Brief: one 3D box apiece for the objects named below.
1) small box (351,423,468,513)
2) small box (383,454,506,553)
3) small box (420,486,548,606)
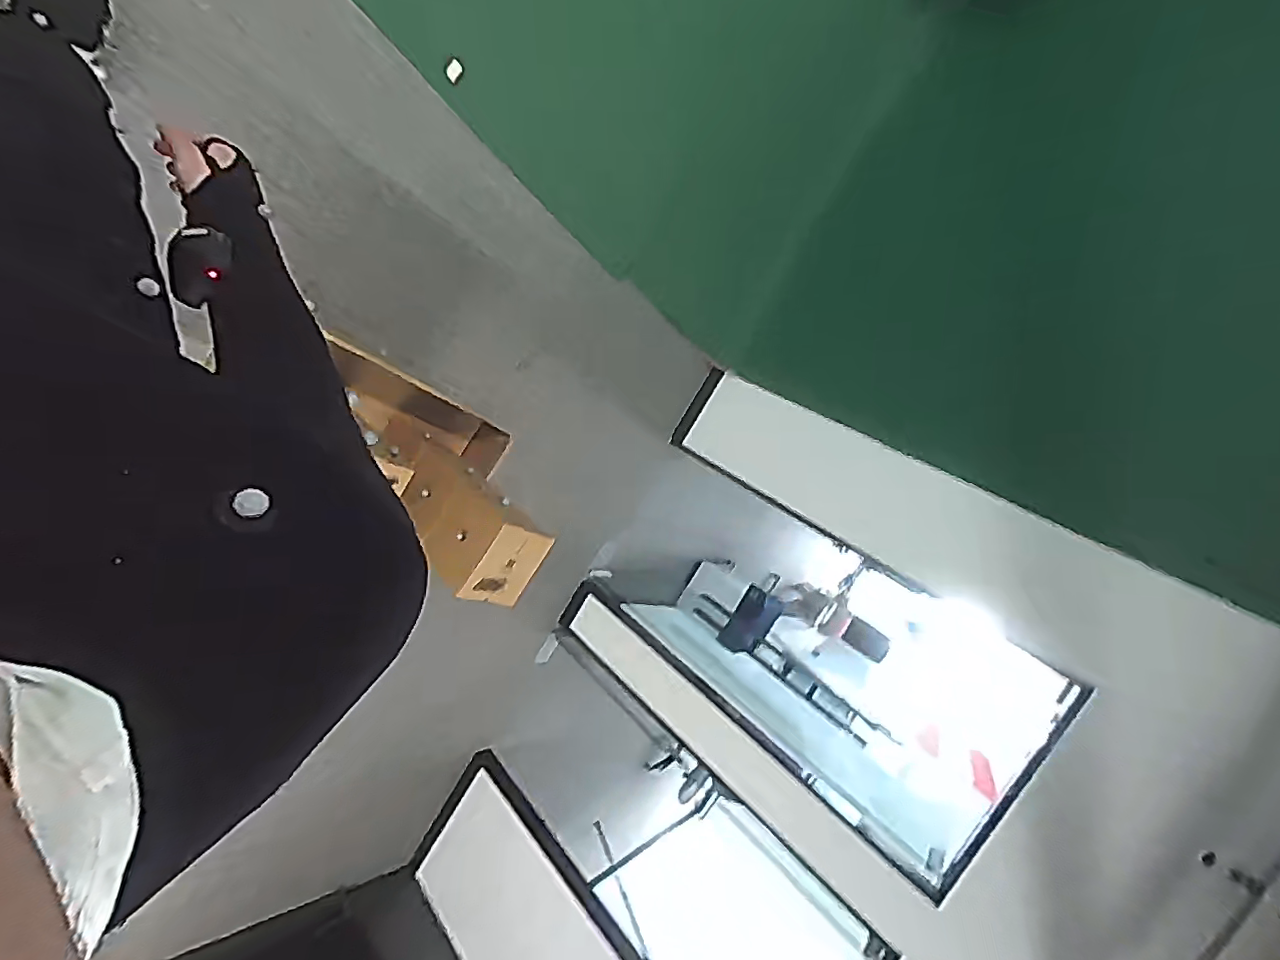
[{"bbox_3d":[-0.570,-0.014,1.330,0.179,0.176,0.168,-55,147,-1],"label":"small box"},{"bbox_3d":[-0.454,0.064,1.246,0.179,0.176,0.168,-57,147,-1],"label":"small box"},{"bbox_3d":[-0.338,0.142,1.158,0.179,0.176,0.168,-57,147,0],"label":"small box"}]
